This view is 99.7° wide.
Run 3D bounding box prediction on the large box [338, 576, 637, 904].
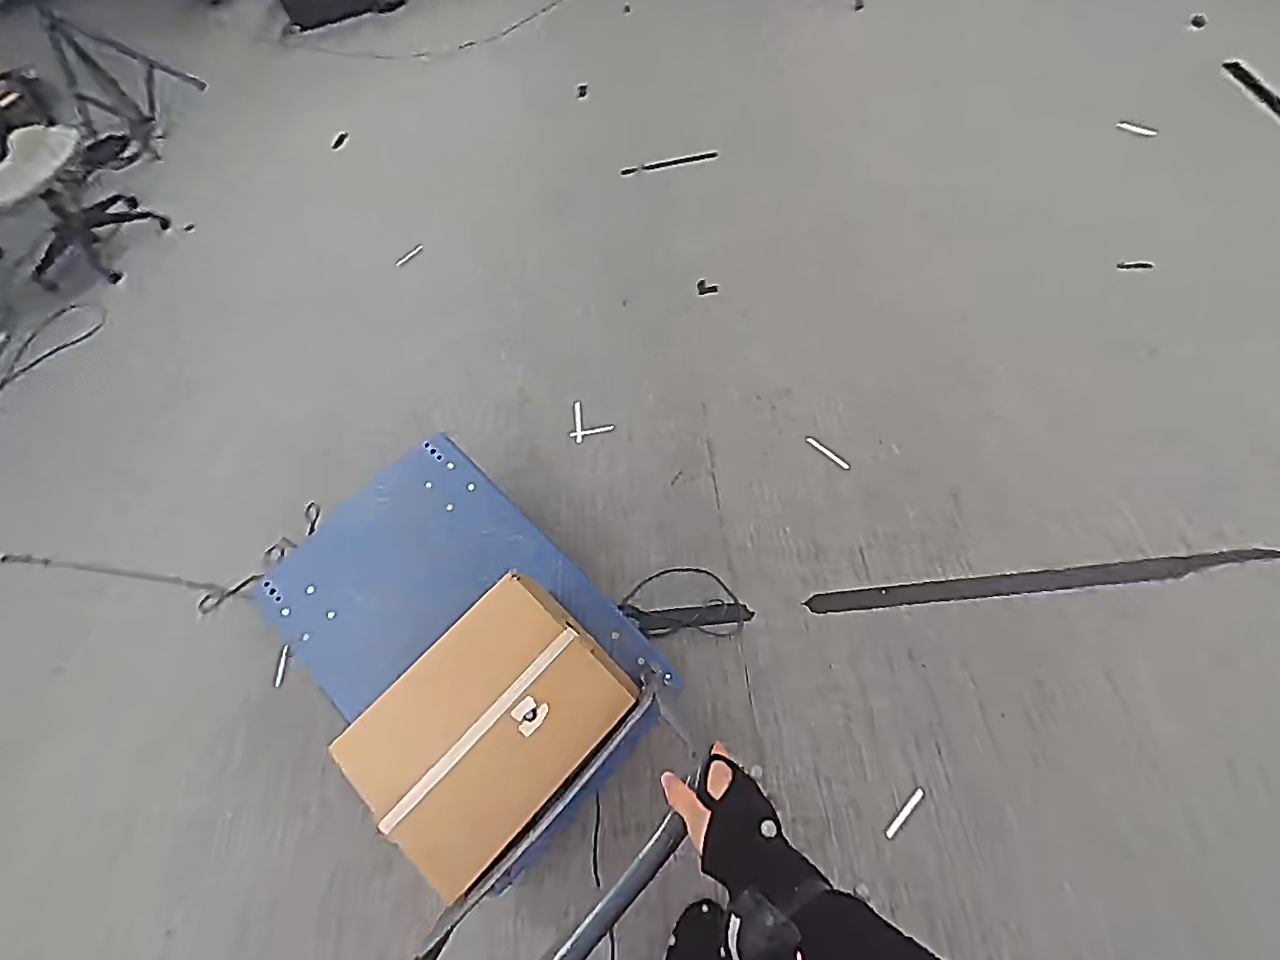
[{"bbox_3d":[-0.249,0.454,1.028,0.320,0.320,0.408,42,77,13],"label":"large box"}]
